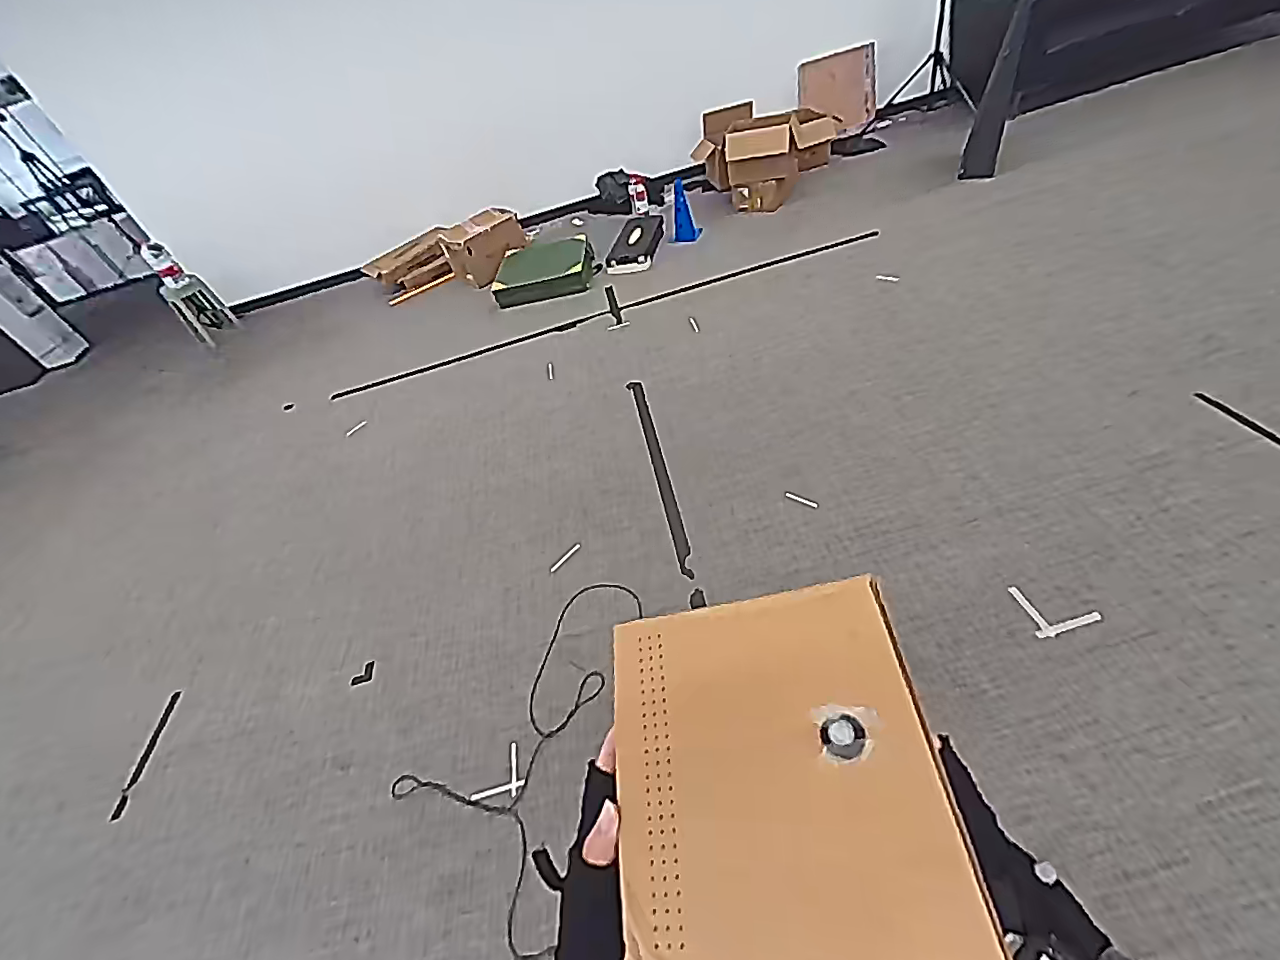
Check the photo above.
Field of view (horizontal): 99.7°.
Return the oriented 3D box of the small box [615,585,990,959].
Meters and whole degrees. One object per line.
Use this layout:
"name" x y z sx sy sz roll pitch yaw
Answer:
"small box" 0.089 0.195 0.350 0.176 0.168 0.179 -16 51 15
